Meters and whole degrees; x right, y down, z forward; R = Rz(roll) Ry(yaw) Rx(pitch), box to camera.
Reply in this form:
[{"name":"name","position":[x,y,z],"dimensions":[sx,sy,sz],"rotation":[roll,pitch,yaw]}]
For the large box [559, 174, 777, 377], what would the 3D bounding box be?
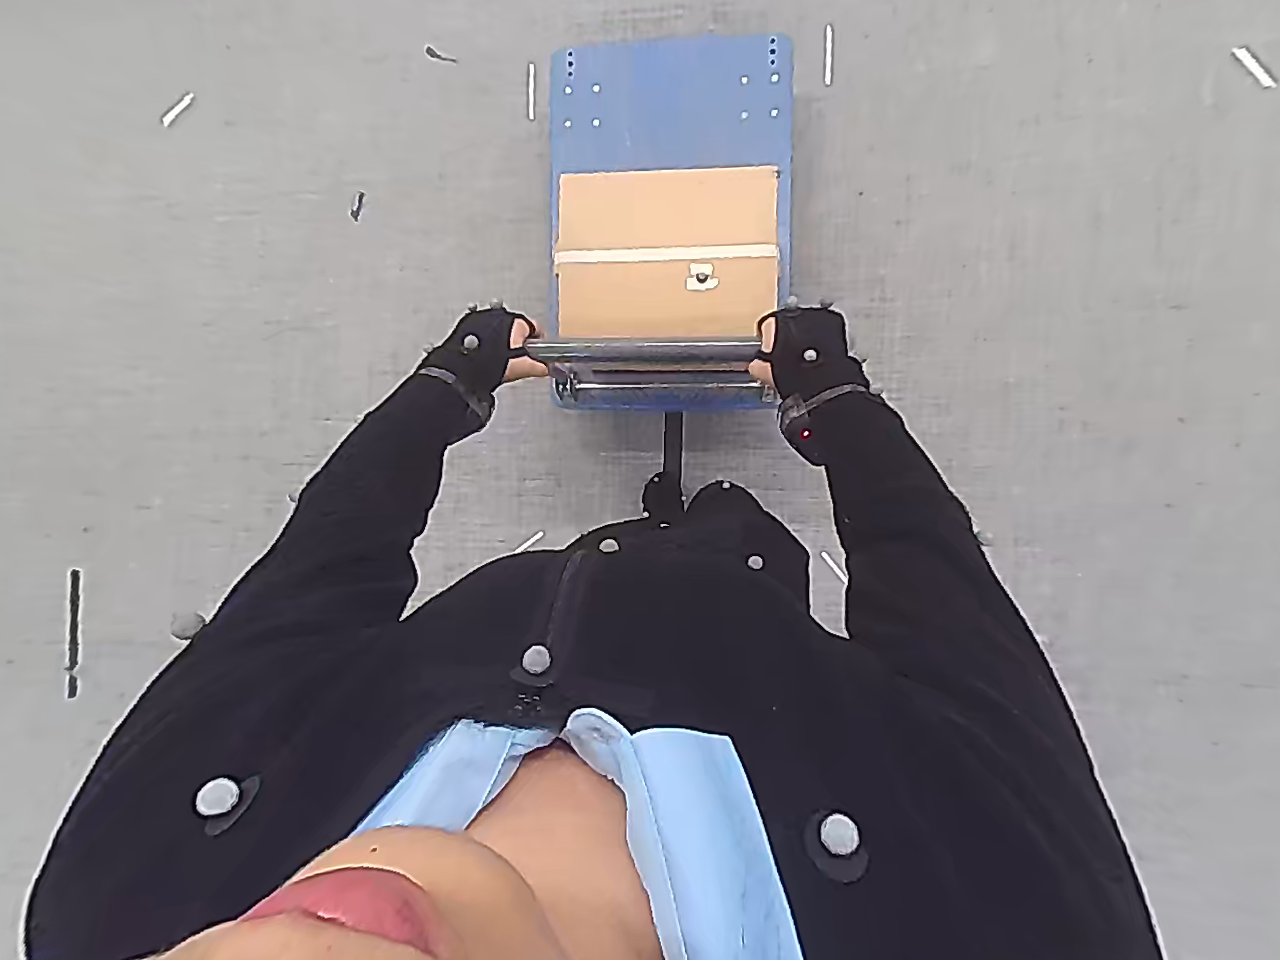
[{"name":"large box","position":[0.057,-0.399,1.136],"dimensions":[0.408,0.320,0.320],"rotation":[1,91,4]}]
